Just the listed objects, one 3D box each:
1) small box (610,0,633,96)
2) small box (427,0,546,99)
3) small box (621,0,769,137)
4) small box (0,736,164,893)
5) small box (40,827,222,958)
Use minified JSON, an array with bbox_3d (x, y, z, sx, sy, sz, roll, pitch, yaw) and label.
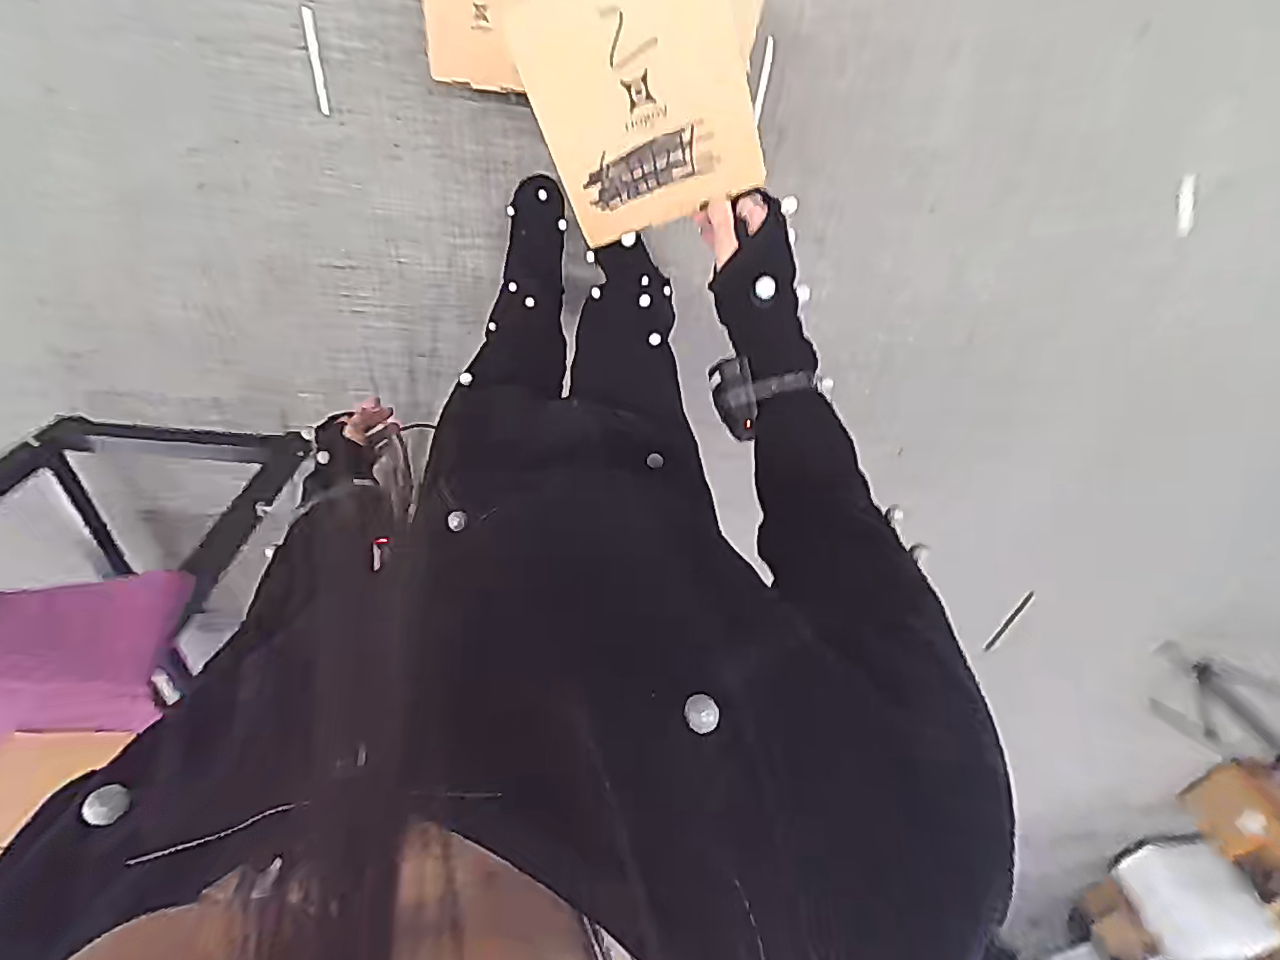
[{"bbox_3d":[0.052,-0.727,0.902,0.179,0.176,0.168,6,127,-12],"label":"small box"},{"bbox_3d":[-0.238,-0.733,0.869,0.168,0.176,0.179,2,127,-8],"label":"small box"},{"bbox_3d":[0.067,-0.620,0.777,0.168,0.176,0.179,6,127,-10],"label":"small box"},{"bbox_3d":[-0.924,0.522,0.853,0.179,0.176,0.168,3,129,-8],"label":"small box"},{"bbox_3d":[-0.998,0.820,1.082,0.179,0.176,0.168,0,128,-6],"label":"small box"}]
